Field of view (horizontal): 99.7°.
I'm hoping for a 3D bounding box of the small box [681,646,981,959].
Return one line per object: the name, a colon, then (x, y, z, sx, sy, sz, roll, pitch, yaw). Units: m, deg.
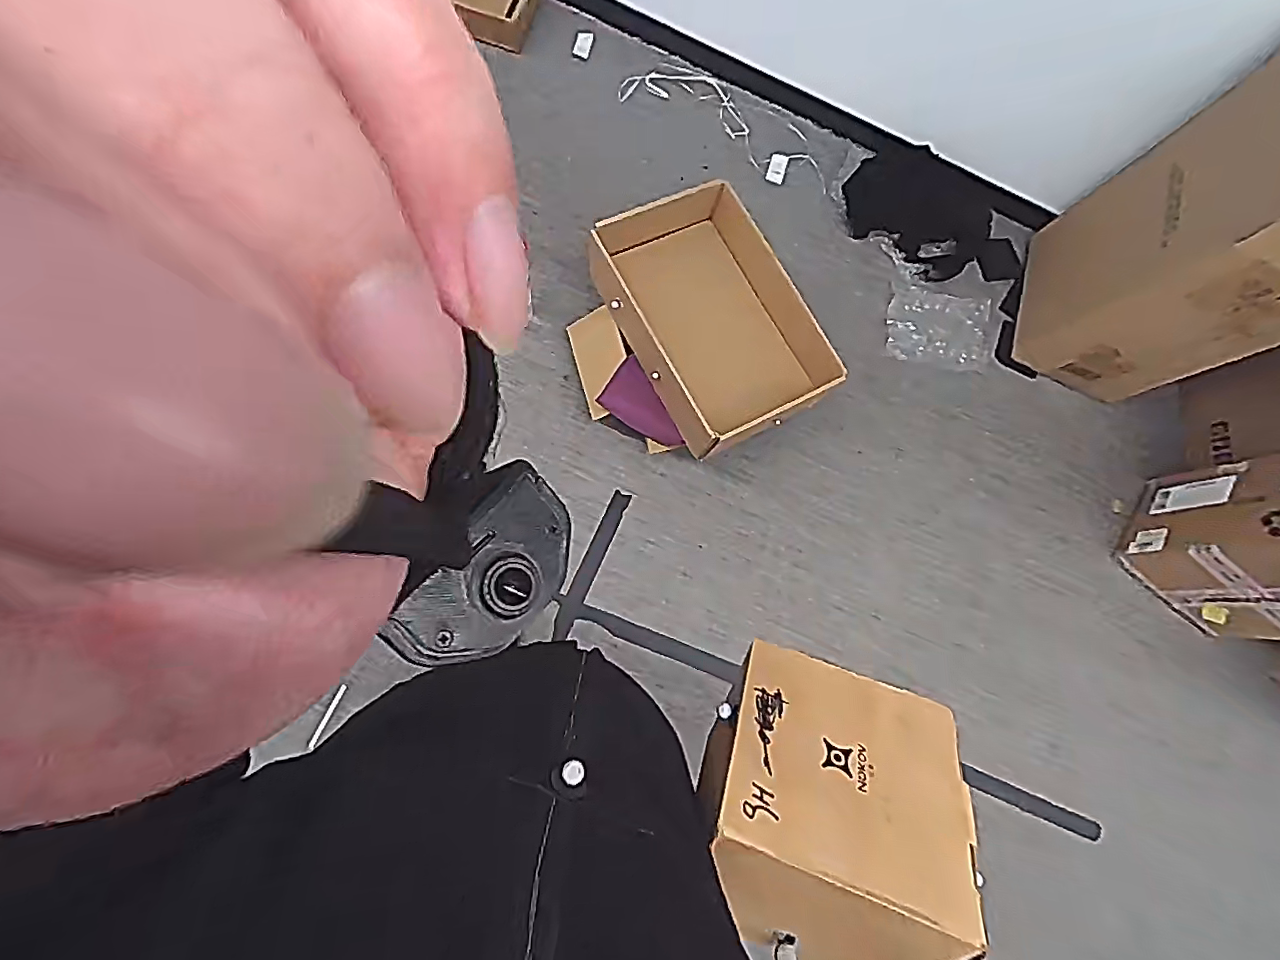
small box: (0.151, 0.284, 0.468, 0.179, 0.176, 0.168, 18, 38, 9)
